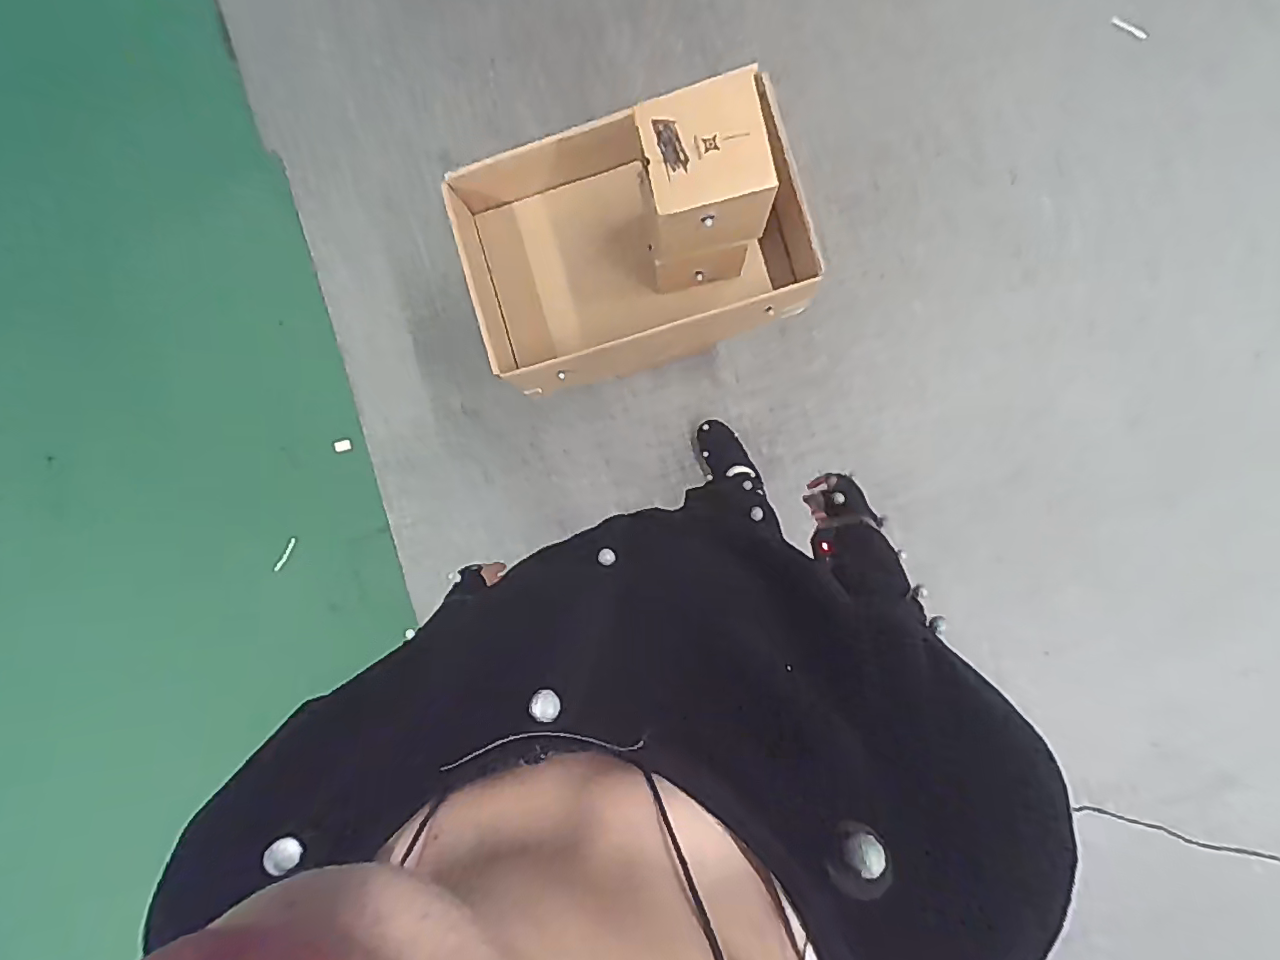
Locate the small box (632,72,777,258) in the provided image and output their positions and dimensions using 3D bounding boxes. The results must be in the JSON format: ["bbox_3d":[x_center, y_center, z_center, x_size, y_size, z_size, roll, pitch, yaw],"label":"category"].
[{"bbox_3d":[0.096,-0.464,0.828,0.179,0.176,0.168,-12,89,4],"label":"small box"}]

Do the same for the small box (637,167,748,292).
[{"bbox_3d":[0.097,-0.463,0.993,0.168,0.176,0.179,-11,89,5],"label":"small box"}]
